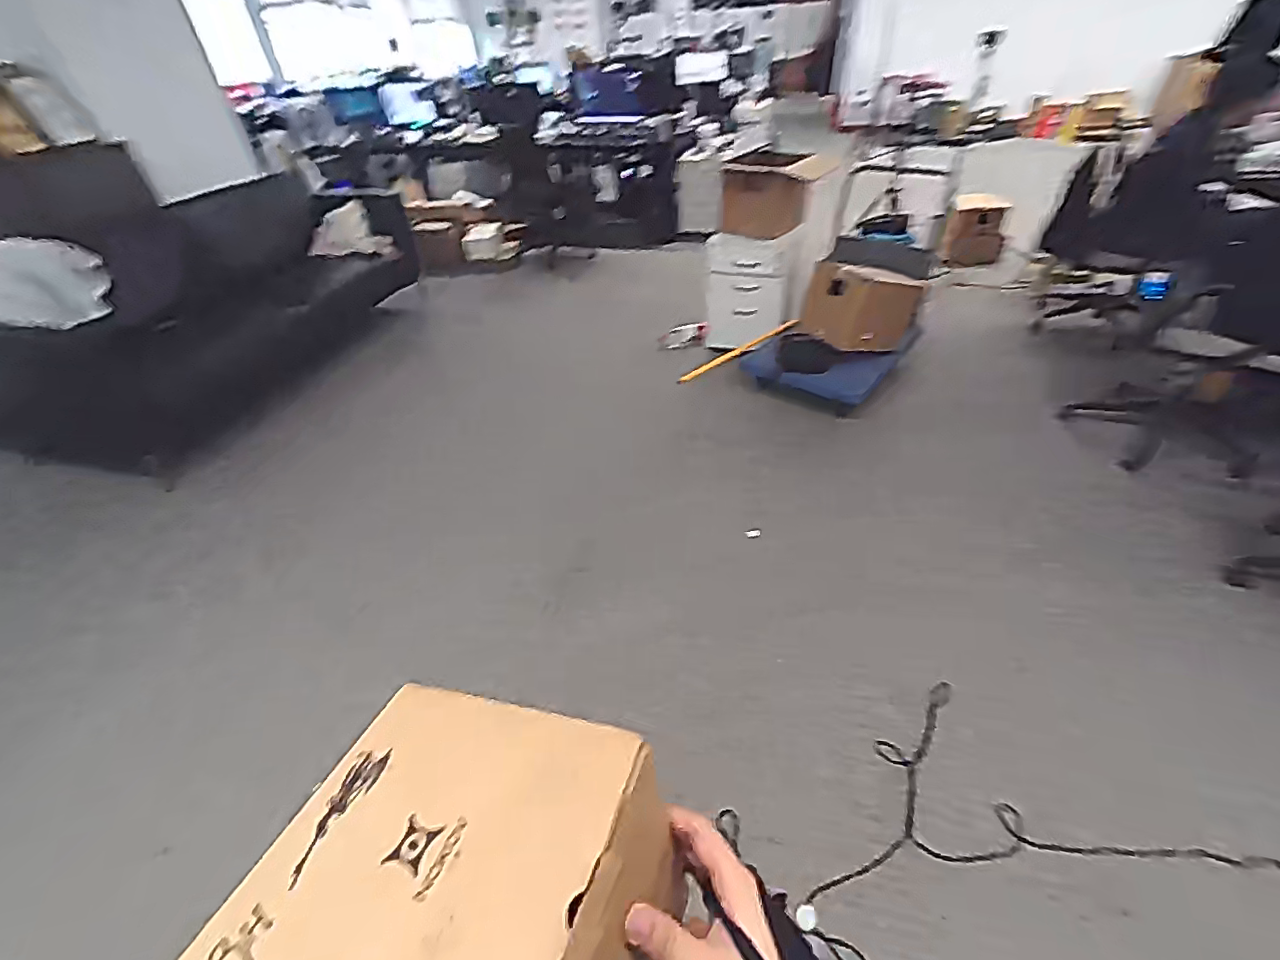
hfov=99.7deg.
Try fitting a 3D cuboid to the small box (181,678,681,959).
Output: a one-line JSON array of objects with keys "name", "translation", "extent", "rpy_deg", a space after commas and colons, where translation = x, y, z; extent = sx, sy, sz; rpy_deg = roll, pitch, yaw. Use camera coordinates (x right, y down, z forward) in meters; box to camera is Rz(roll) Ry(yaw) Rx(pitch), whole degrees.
[{"name": "small box", "translation": [-0.085, 0.249, 0.306], "extent": [0.179, 0.176, 0.168], "rpy_deg": [4, 33, 23]}]
